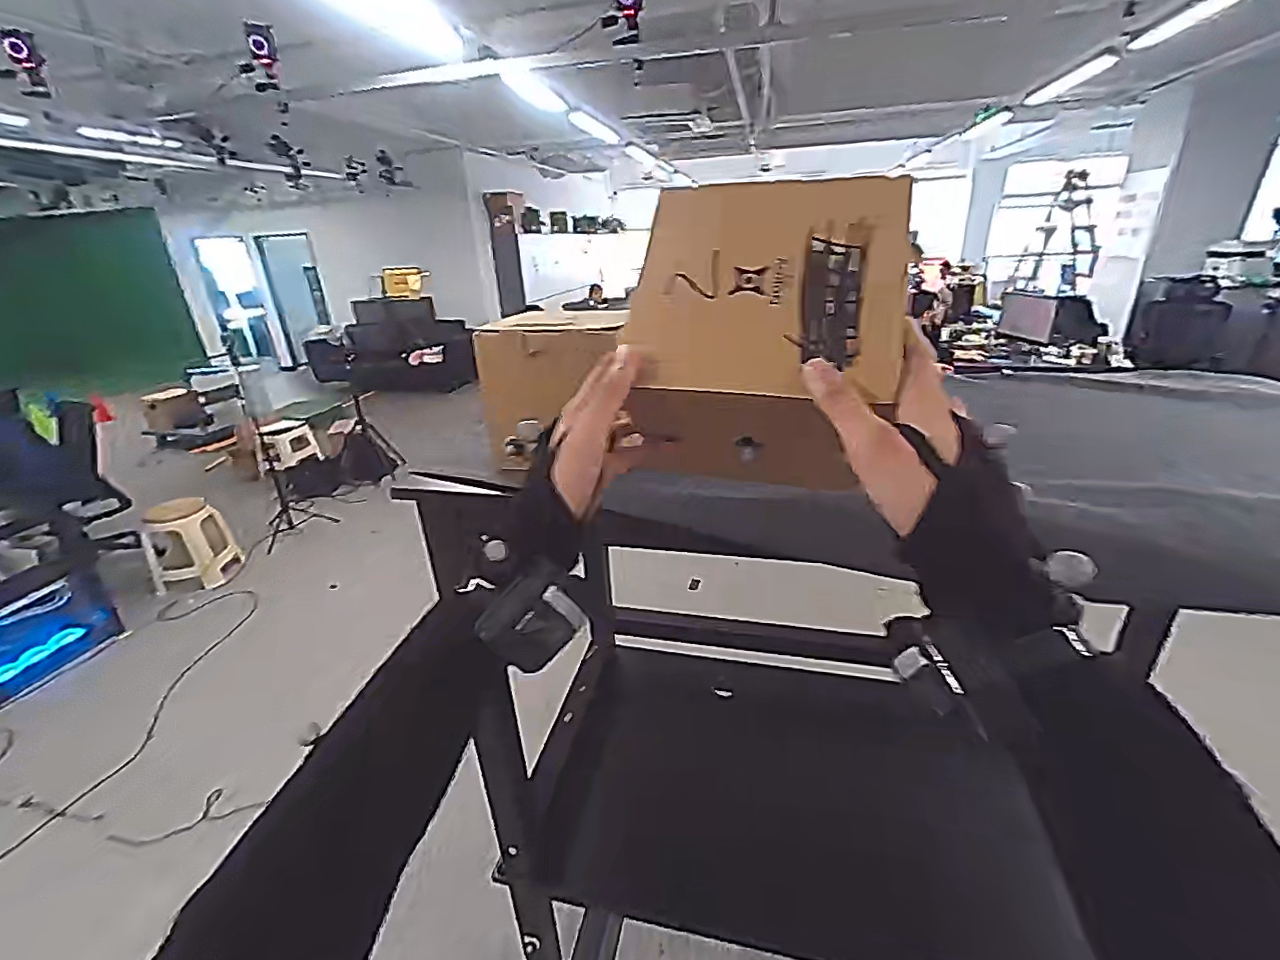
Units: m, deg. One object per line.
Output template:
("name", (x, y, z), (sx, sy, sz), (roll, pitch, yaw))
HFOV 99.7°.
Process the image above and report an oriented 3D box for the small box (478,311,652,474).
("small box", (-0.079, -0.115, 0.687), (0.168, 0.176, 0.179), (3, 24, 12))
